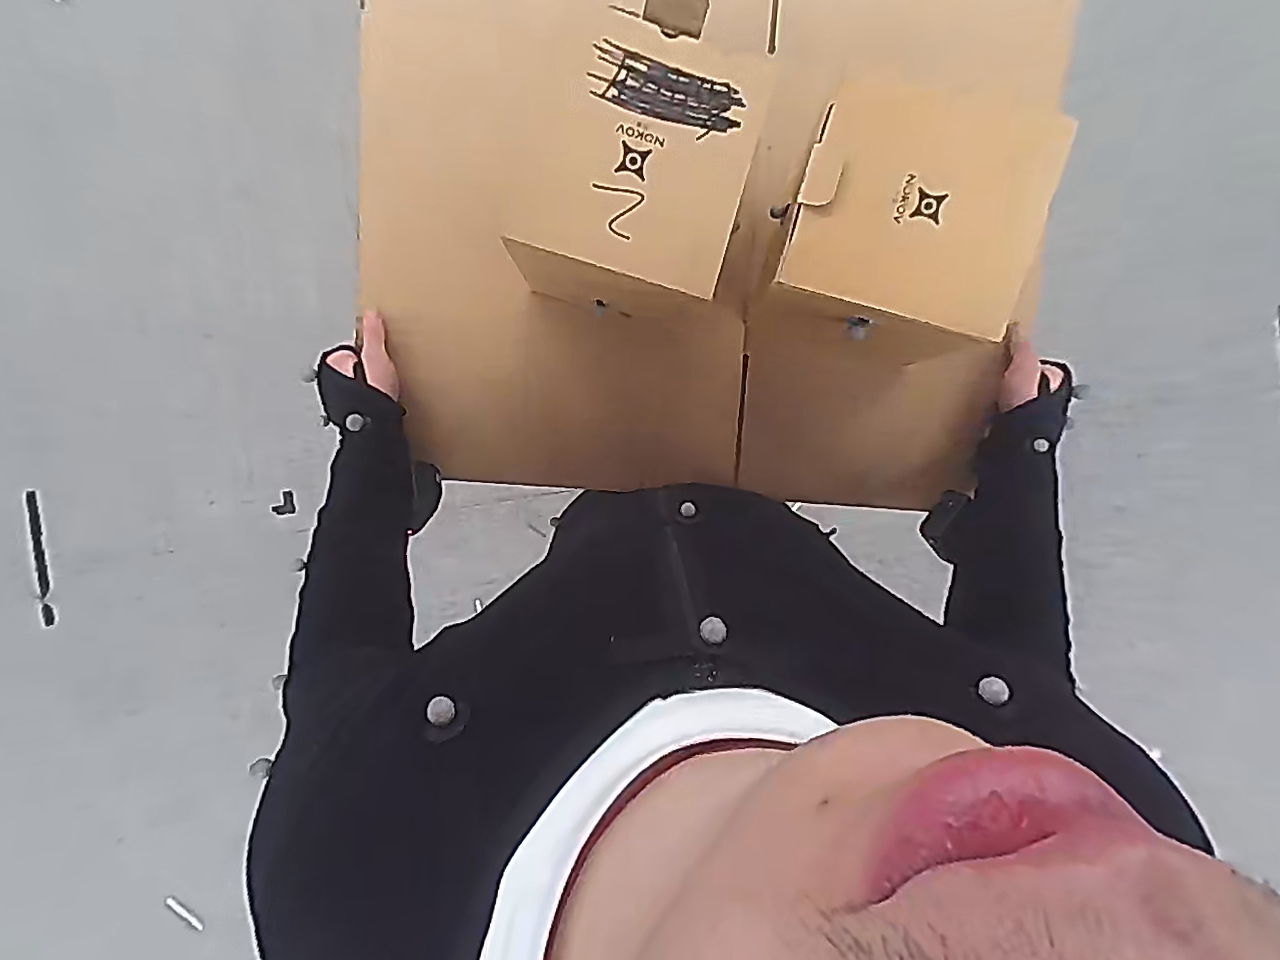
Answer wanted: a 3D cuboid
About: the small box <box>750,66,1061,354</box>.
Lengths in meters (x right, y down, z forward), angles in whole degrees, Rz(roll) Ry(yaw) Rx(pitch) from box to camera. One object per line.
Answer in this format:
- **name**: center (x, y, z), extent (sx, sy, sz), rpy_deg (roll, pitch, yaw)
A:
- **small box**: center (0.214, -0.219, 0.492), extent (0.179, 0.176, 0.168), rpy_deg (16, 97, 3)
